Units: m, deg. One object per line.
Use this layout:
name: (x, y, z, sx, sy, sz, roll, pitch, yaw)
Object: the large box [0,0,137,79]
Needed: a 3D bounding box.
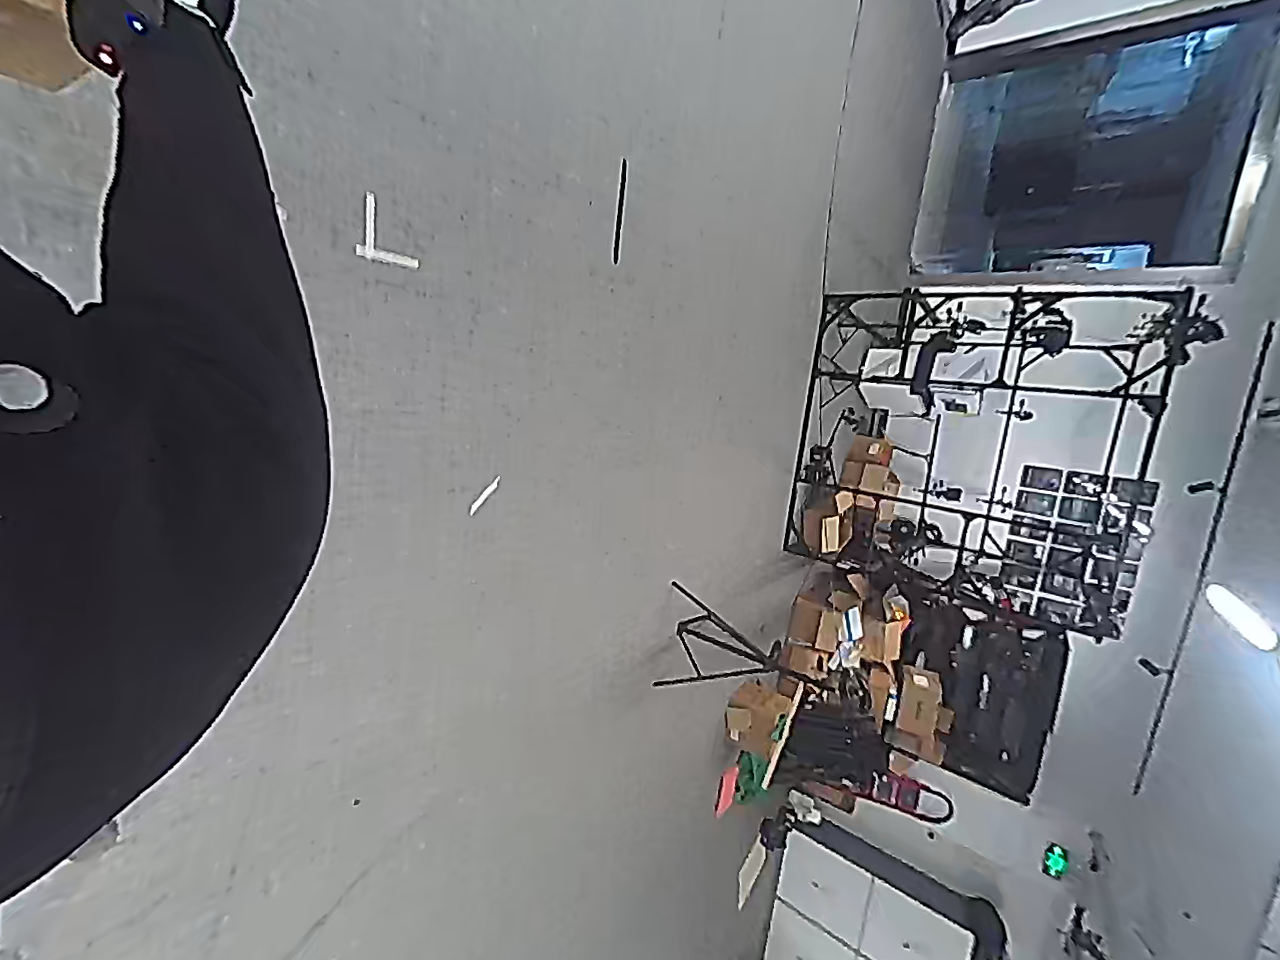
large box: (-0.608, -0.523, 0.316, 0.408, 0.320, 0.320, -7, 112, -54)
